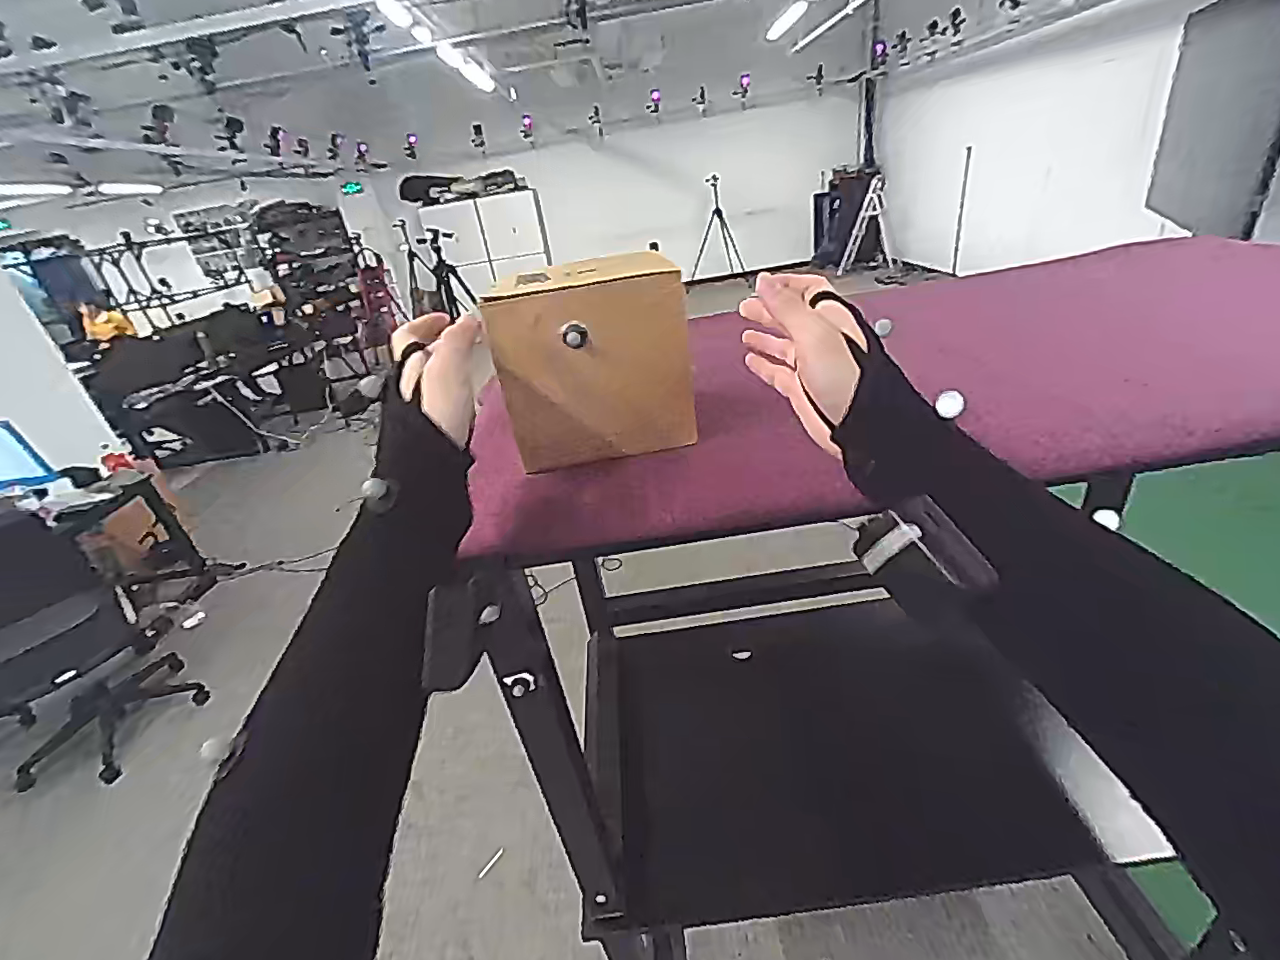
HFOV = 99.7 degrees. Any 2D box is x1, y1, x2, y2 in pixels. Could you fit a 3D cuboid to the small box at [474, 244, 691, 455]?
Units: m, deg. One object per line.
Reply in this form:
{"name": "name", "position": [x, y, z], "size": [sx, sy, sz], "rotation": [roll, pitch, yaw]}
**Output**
{"name": "small box", "position": [-0.051, -0.138, 0.563], "size": [0.179, 0.176, 0.168], "rotation": [-10, 29, -1]}
